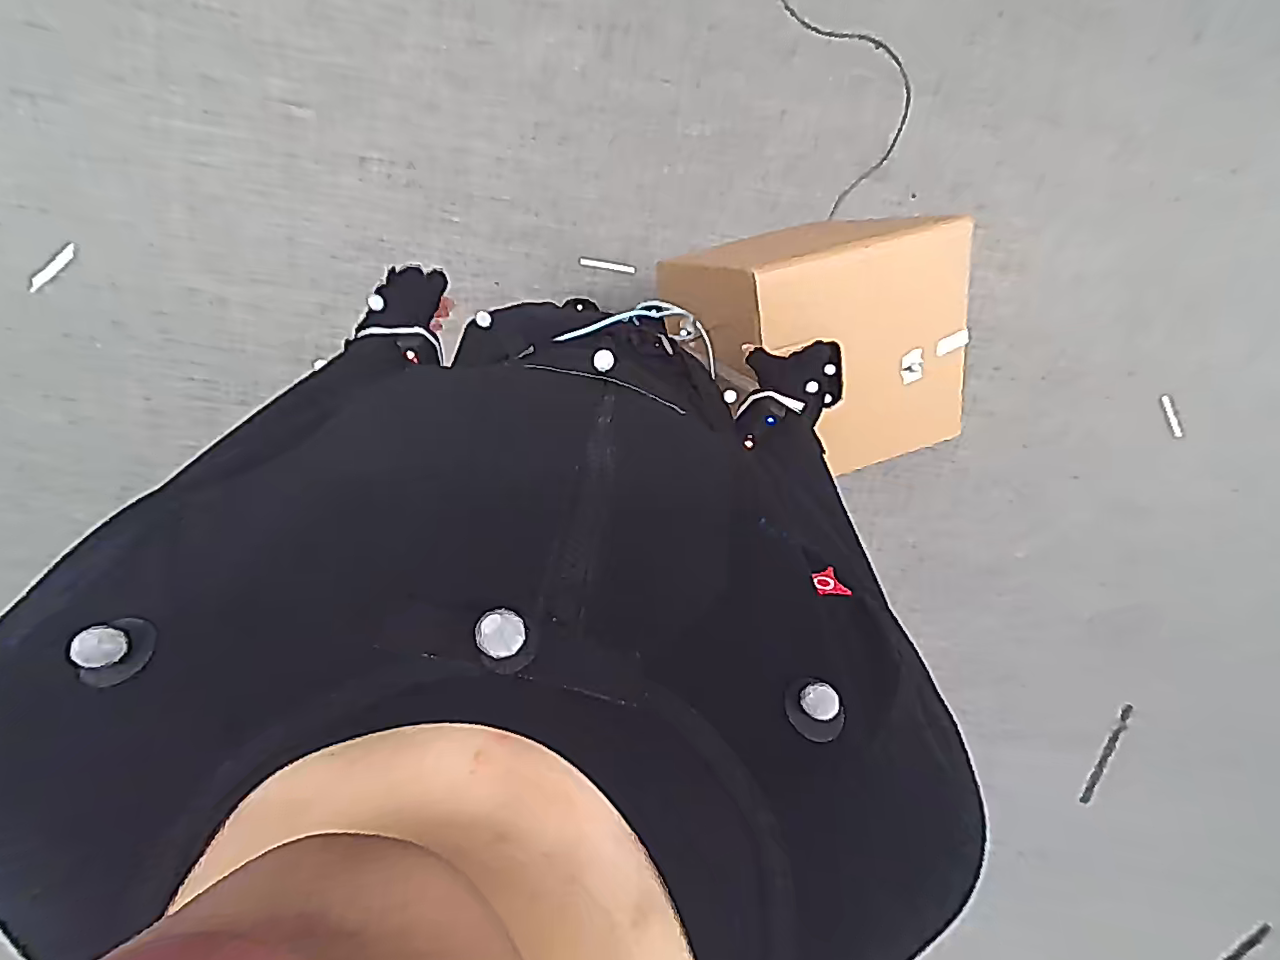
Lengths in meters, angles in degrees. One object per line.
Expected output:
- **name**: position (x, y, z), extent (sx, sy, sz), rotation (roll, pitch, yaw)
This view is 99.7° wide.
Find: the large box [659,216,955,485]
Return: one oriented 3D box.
- **large box**: position (0.259, -0.240, 0.925), extent (0.320, 0.408, 0.320), rotation (-17, 116, -8)
